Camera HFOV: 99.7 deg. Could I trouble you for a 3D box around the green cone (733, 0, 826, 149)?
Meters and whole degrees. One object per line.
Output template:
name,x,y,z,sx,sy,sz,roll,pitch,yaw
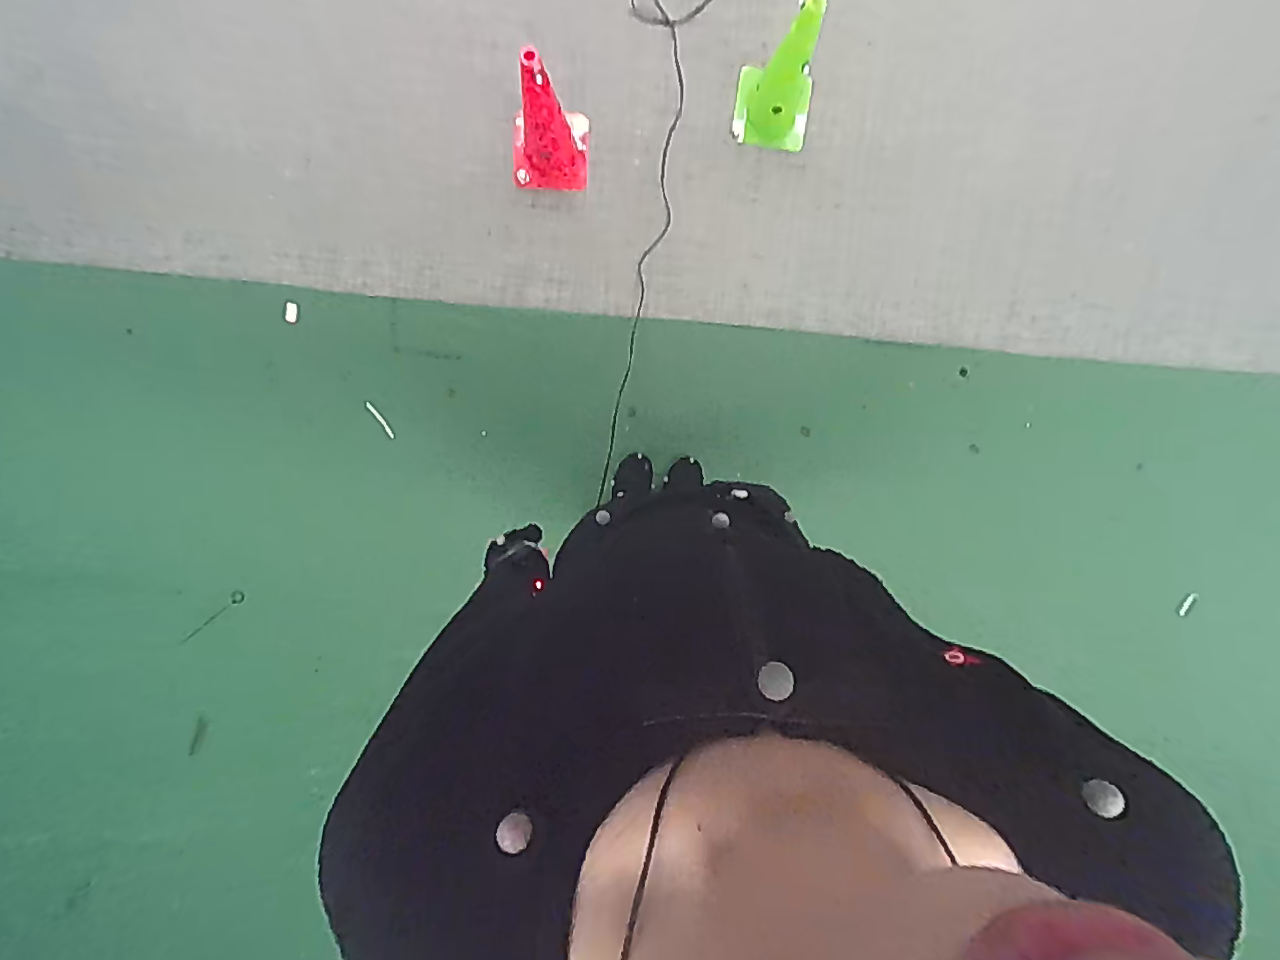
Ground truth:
green cone,0.366,-1.006,1.300,0.200,0.368,0.202,7,92,-2
